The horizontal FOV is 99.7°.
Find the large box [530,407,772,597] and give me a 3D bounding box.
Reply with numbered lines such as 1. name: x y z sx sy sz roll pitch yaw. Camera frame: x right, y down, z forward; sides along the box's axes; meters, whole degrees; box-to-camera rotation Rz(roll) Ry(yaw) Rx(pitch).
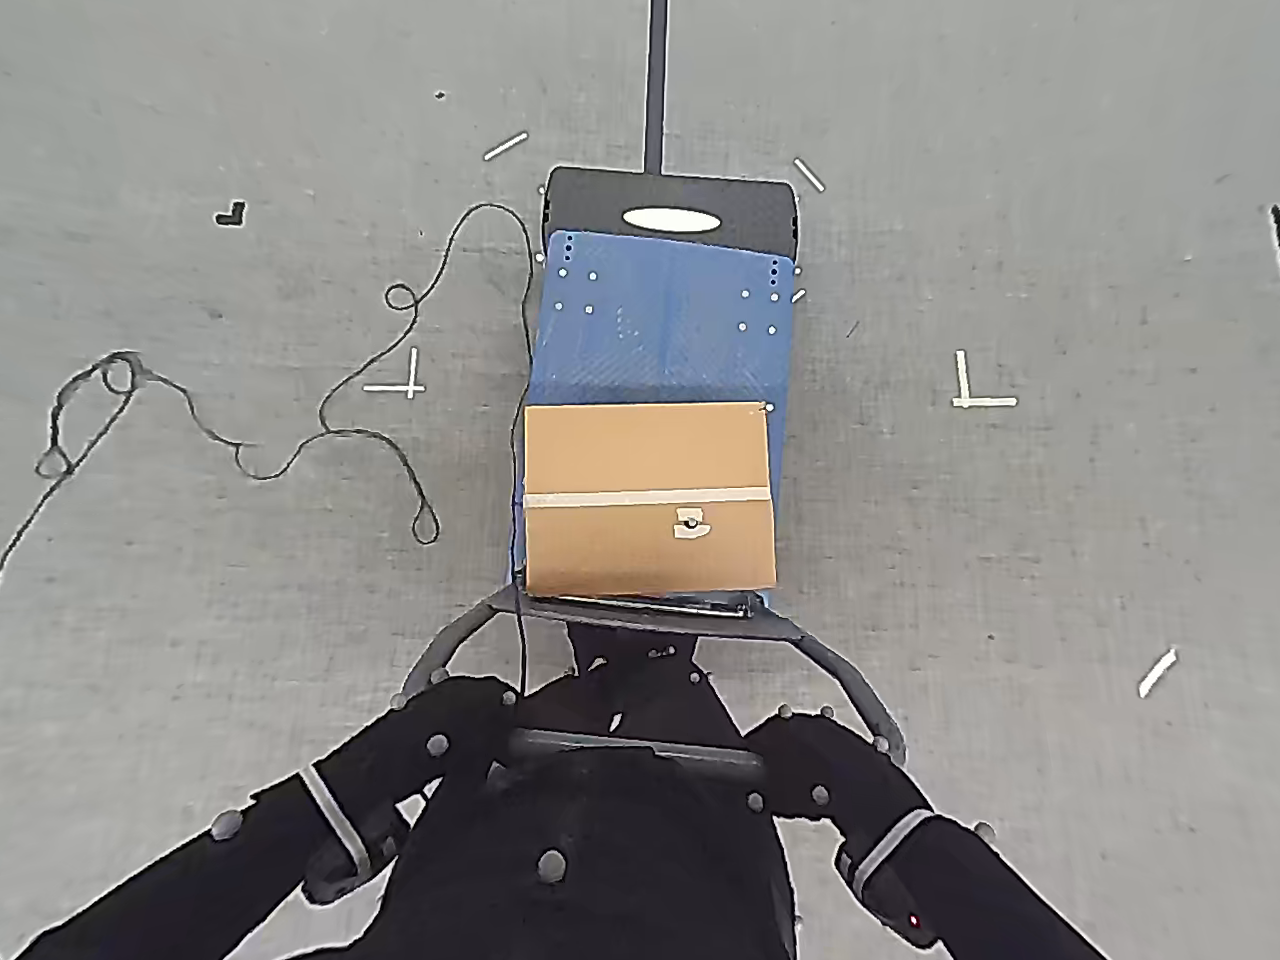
1. large box: 0.008 0.050 1.057 0.408 0.320 0.320 -1 84 -3
